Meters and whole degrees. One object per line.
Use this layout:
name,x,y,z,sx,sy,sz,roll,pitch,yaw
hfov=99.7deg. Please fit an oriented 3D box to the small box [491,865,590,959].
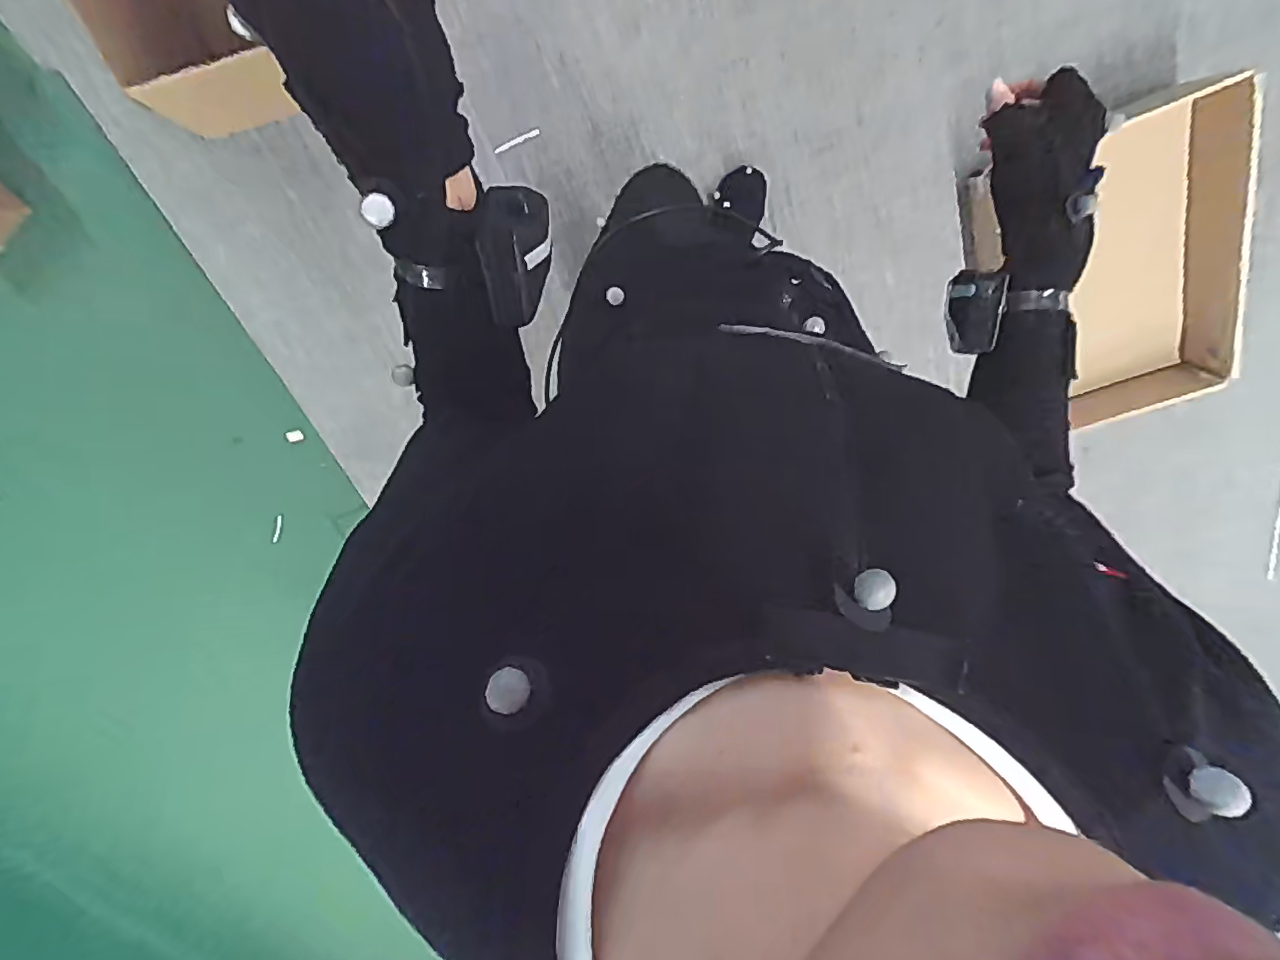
small box,-0.219,1.033,1.260,0.168,0.176,0.179,-11,119,8
